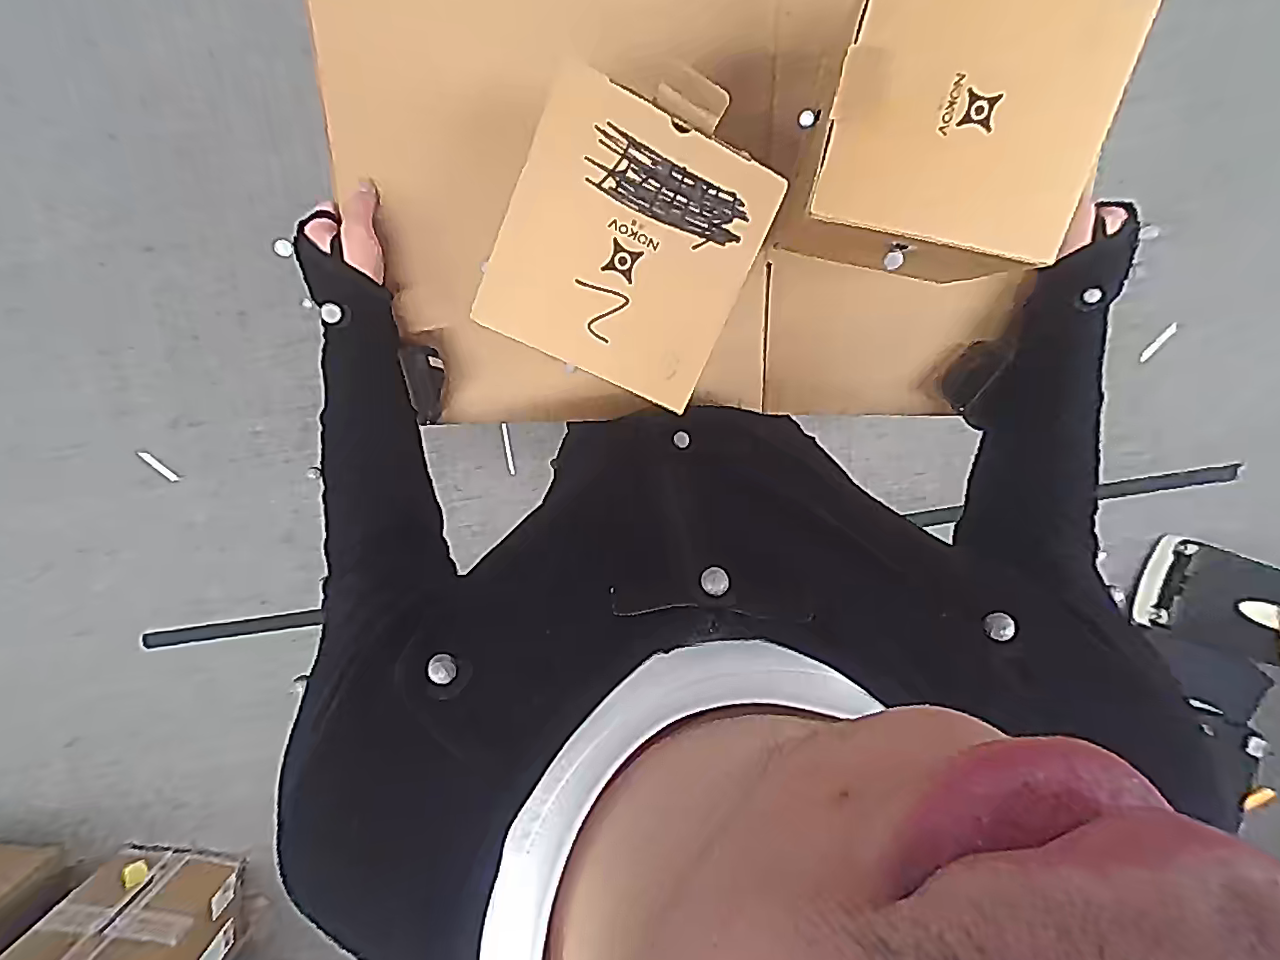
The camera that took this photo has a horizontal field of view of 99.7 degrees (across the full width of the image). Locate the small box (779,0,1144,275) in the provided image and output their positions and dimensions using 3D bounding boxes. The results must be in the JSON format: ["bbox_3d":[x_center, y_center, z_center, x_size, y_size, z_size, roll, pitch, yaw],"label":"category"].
[{"bbox_3d":[0.229,-0.273,0.446,0.179,0.176,0.168,13,107,3],"label":"small box"}]
